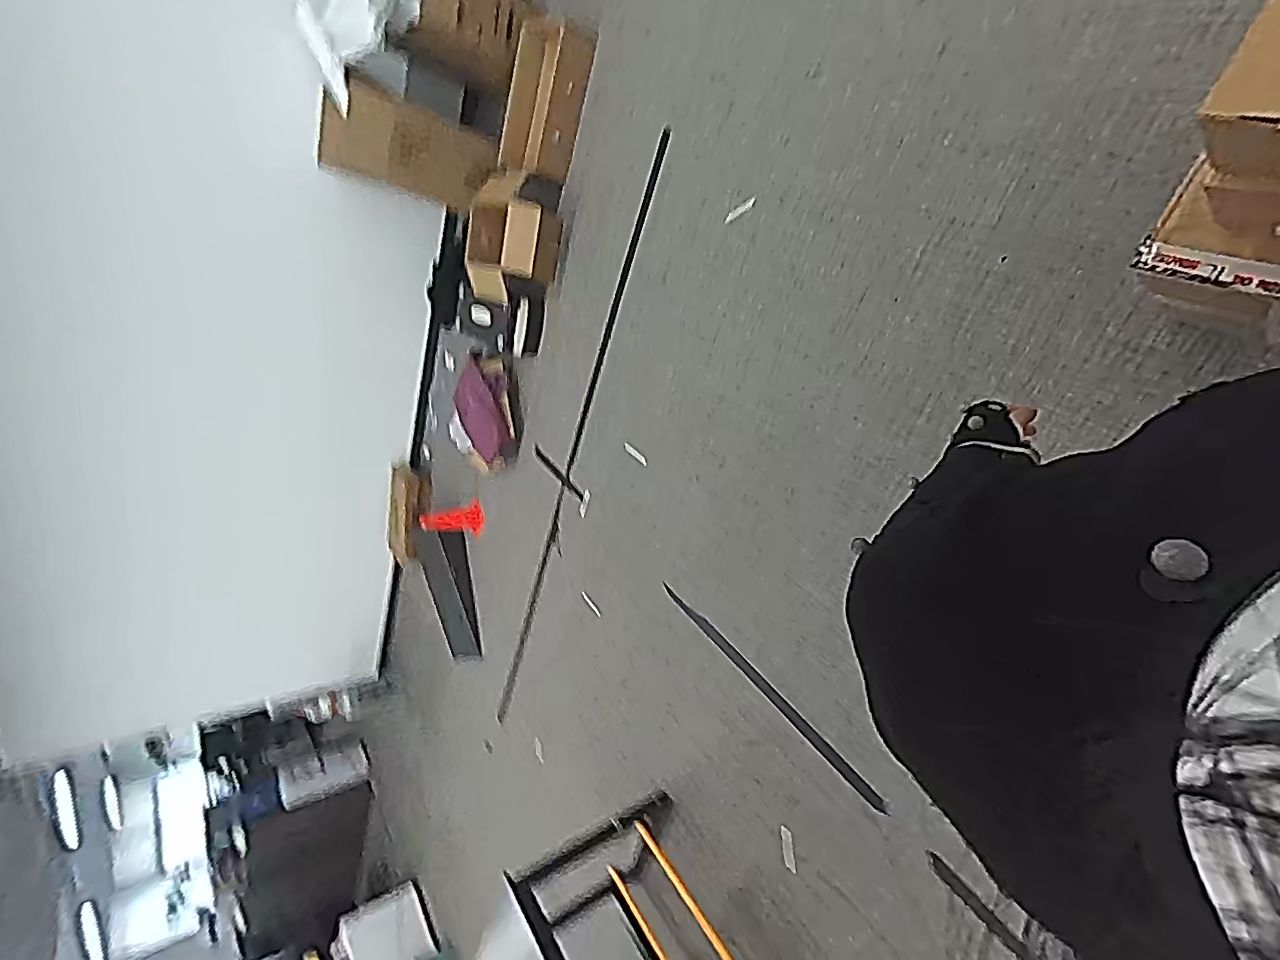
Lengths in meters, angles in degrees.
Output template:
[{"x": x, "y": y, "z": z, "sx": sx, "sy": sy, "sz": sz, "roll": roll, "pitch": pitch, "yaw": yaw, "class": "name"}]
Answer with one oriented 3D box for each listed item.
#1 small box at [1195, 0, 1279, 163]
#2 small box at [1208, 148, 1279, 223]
[{"x": 0.639, "y": -0.374, "z": 0.454, "sx": 0.168, "sy": 0.176, "sz": 0.179, "roll": 42, "pitch": 126, "yaw": 40, "class": "small box"}, {"x": 0.760, "y": -0.377, "z": 0.566, "sx": 0.168, "sy": 0.176, "sz": 0.179, "roll": 40, "pitch": 124, "yaw": 41, "class": "small box"}]
